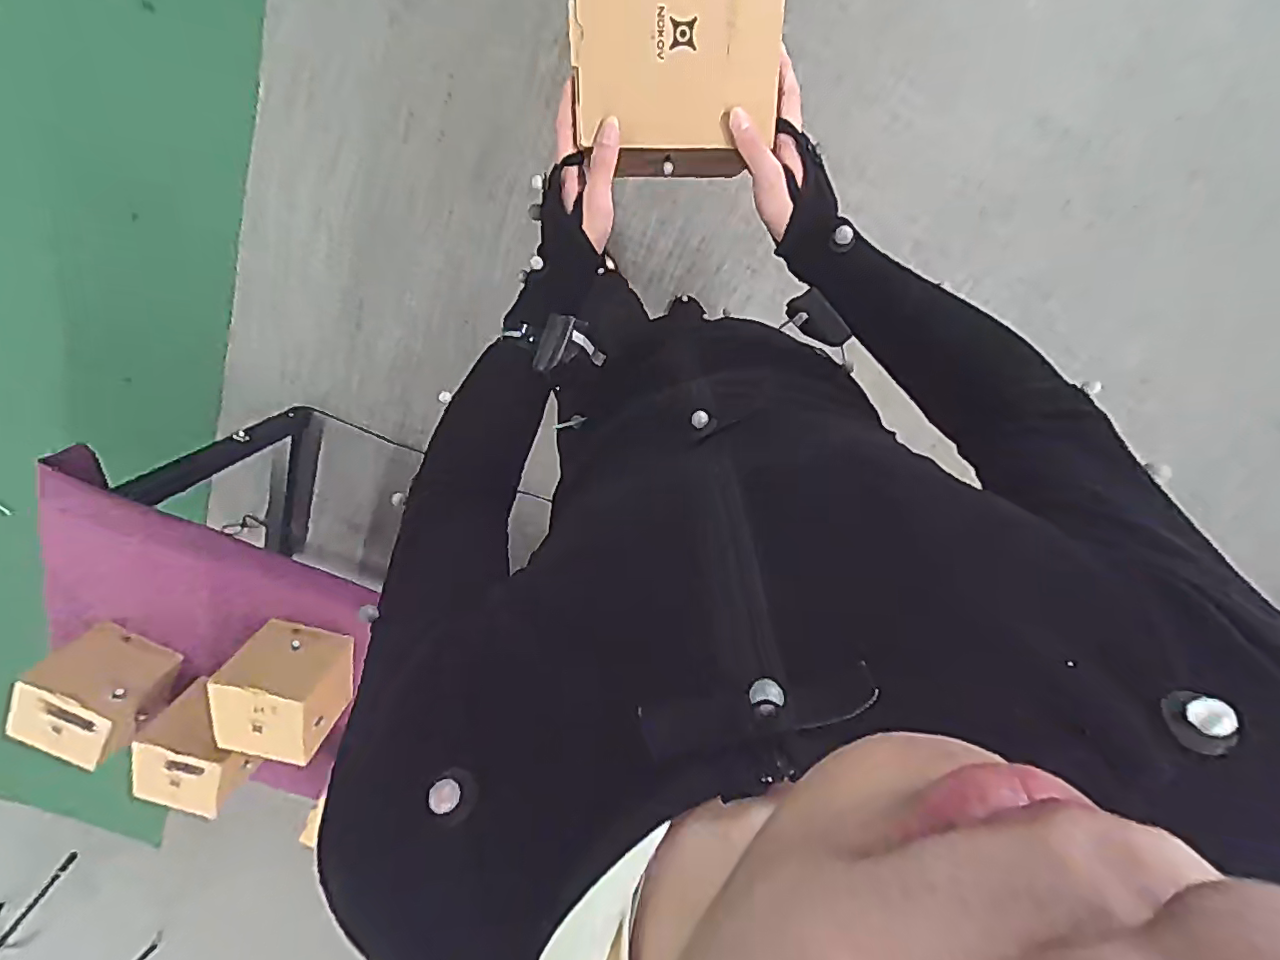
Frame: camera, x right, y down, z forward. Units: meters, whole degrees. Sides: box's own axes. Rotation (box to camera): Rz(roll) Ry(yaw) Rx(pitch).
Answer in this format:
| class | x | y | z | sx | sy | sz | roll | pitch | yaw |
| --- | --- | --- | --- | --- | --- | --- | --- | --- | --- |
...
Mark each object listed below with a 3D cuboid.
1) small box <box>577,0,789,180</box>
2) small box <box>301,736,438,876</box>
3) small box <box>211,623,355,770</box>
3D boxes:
| class | x | y | z | sx | sy | sz | roll | pitch | yaw |
| --- | --- | --- | --- | --- | --- | --- | --- | --- | --- |
| small box | 0.033 | -0.397 | 0.522 | 0.179 | 0.176 | 0.168 | 0 | 111 | -3 |
| small box | -0.565 | 0.681 | 1.146 | 0.179 | 0.176 | 0.168 | 31 | 112 | -9 |
| small box | -0.668 | 0.408 | 1.032 | 0.168 | 0.176 | 0.179 | 14 | 115 | -3 |
